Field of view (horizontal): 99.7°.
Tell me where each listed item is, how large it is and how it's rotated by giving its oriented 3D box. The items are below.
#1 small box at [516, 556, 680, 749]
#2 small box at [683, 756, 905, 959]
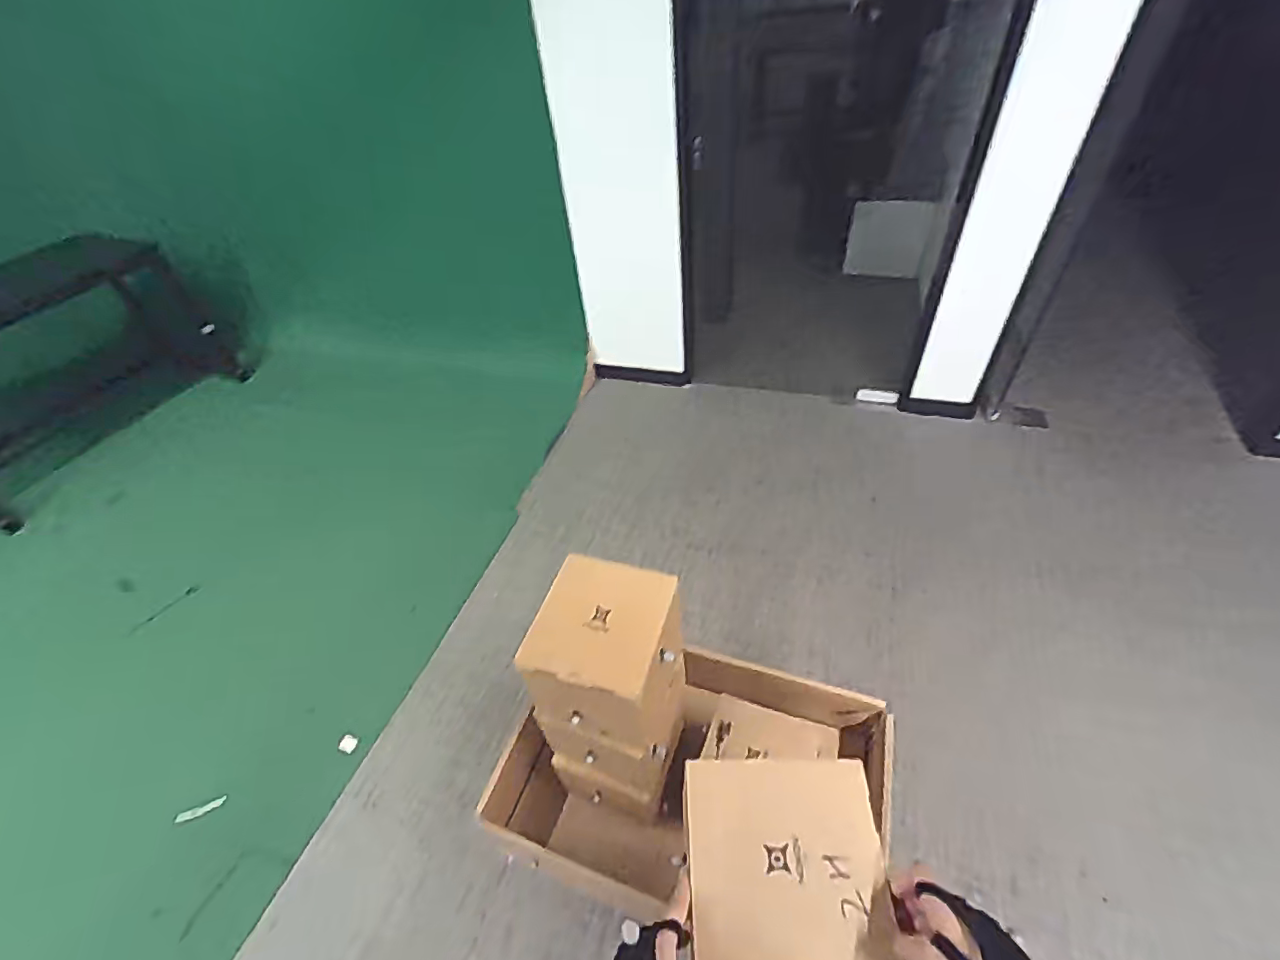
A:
[{"bbox_3d":[-0.045,0.237,0.749,0.168,0.176,0.179,10,47,16],"label":"small box"},{"bbox_3d":[0.133,0.387,0.540,0.179,0.176,0.168,-1,51,3],"label":"small box"}]
